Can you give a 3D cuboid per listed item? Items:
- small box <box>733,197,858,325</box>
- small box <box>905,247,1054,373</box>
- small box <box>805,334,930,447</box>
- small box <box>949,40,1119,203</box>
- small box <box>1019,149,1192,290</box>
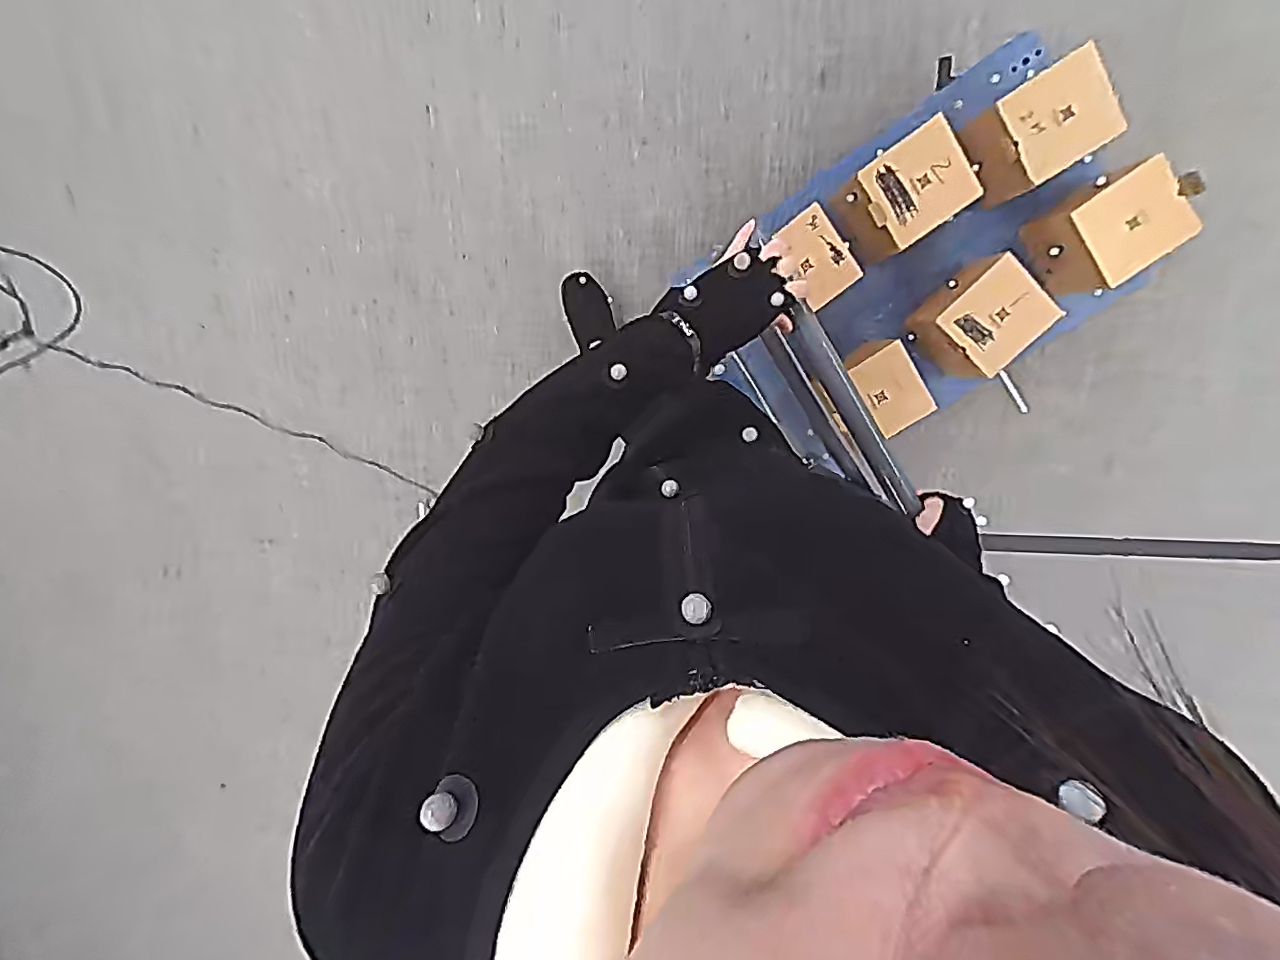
[{"bbox_3d":[0.306,-0.434,1.110,0.179,0.176,0.168,-36,100,10],"label":"small box"},{"bbox_3d":[0.681,-0.341,1.117,0.168,0.176,0.179,44,101,-8],"label":"small box"},{"bbox_3d":[0.474,-0.194,1.164,0.179,0.176,0.168,-32,101,9],"label":"small box"},{"bbox_3d":[0.740,-0.669,1.033,0.179,0.176,0.168,-30,100,10],"label":"small box"},{"bbox_3d":[0.899,-0.499,1.068,0.179,0.176,0.168,-35,99,10],"label":"small box"}]
